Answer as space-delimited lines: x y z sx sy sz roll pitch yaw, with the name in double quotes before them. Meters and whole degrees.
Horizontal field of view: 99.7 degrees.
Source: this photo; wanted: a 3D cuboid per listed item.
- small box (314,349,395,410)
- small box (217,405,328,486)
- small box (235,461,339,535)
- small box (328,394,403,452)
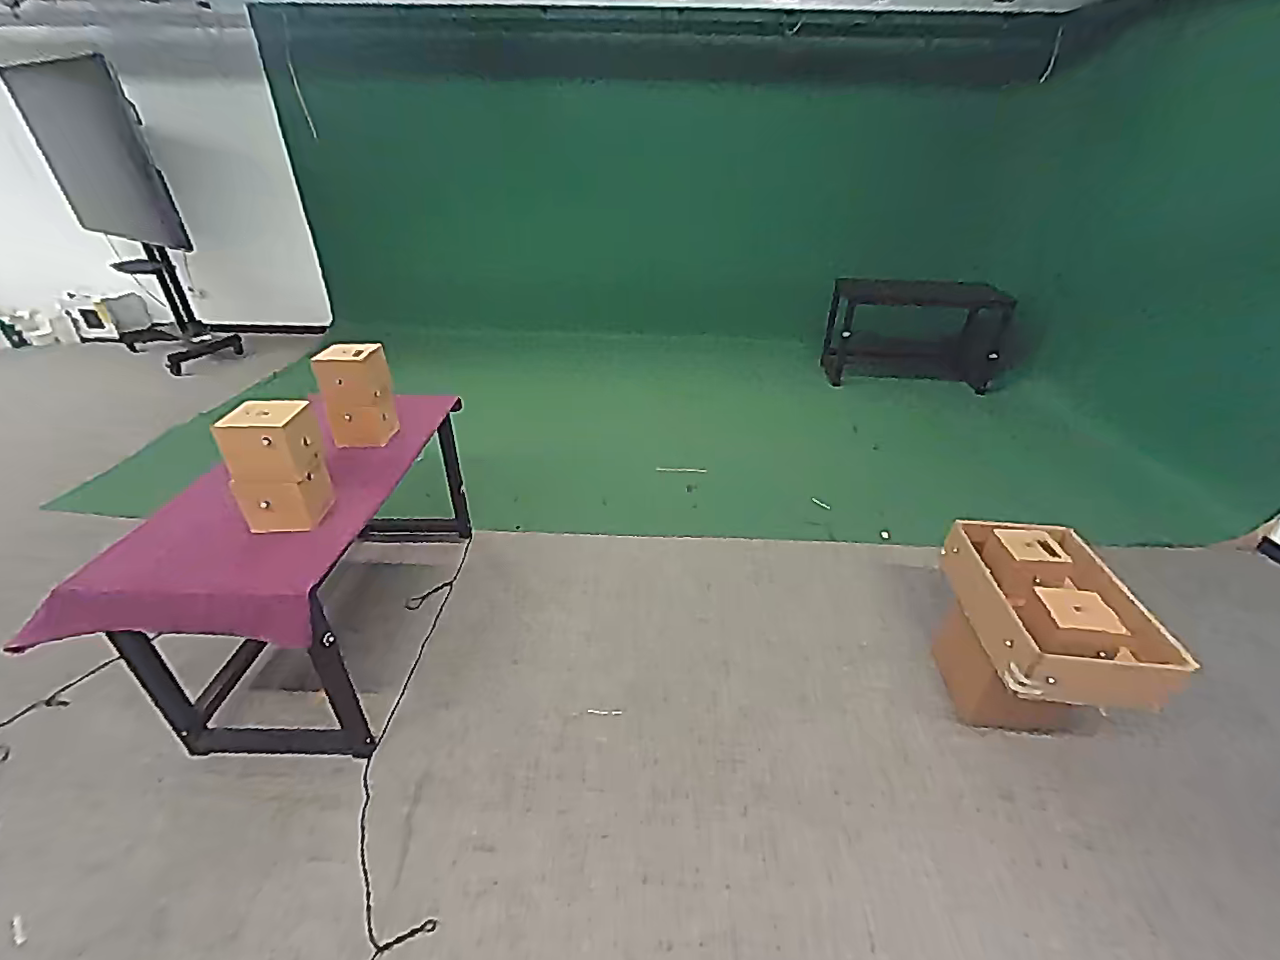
"small box" -0.993 -0.353 1.903 0.179 0.176 0.168 0 32 3
"small box" -0.993 -0.093 1.482 0.179 0.176 0.168 -1 31 -3
"small box" -1.012 0.048 1.568 0.179 0.176 0.168 -2 33 -4
"small box" -1.001 -0.214 1.991 0.179 0.176 0.168 -1 32 0
